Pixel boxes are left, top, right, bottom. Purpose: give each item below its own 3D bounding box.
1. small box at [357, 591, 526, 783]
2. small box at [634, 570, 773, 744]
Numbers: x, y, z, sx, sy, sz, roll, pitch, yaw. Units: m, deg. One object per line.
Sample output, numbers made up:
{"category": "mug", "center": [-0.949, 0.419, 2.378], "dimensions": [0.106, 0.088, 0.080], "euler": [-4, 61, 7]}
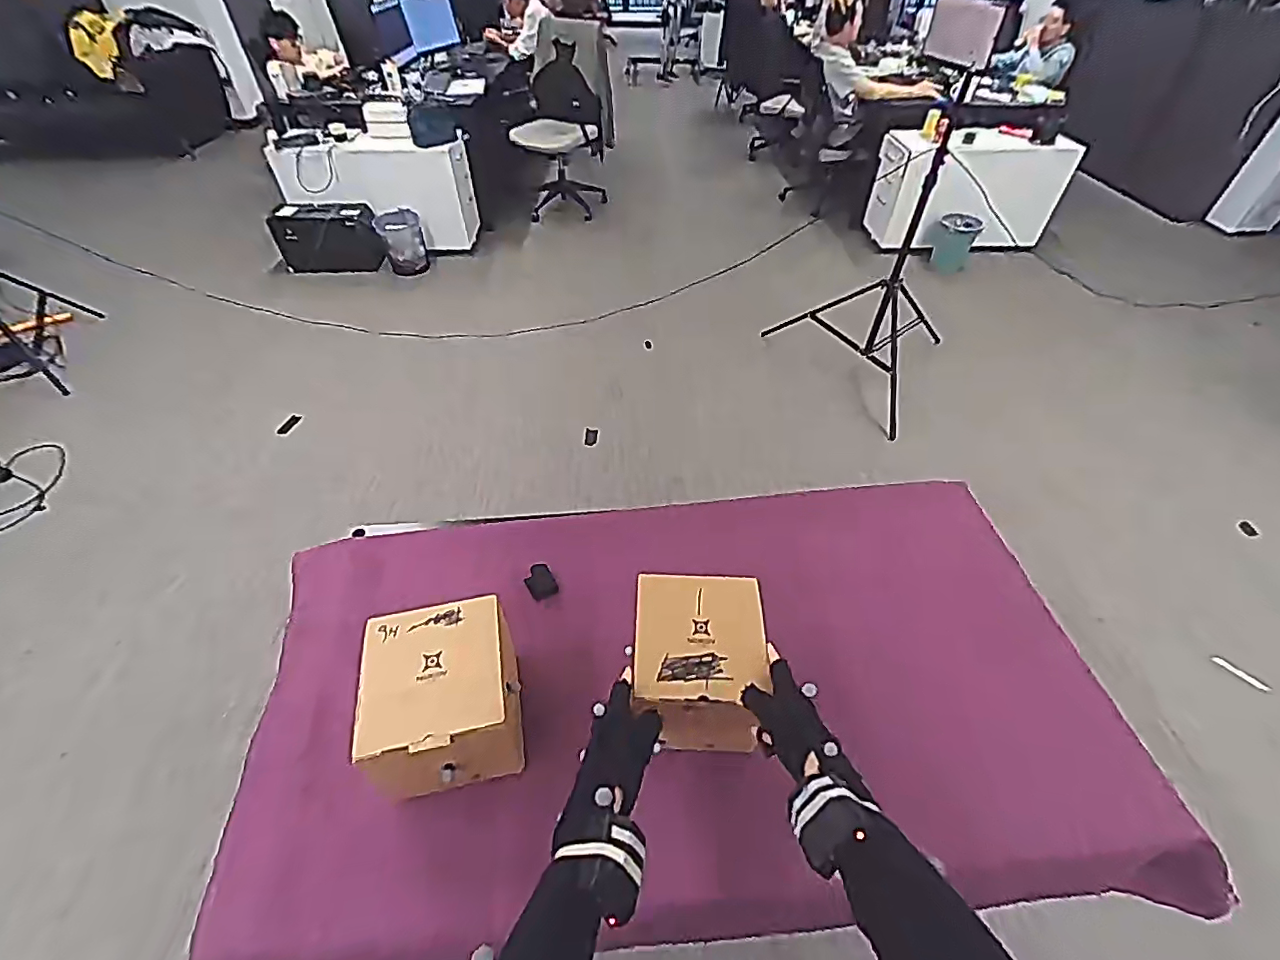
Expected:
{"category": "small box", "center": [-0.247, 0.276, 0.711], "dimensions": [0.168, 0.176, 0.179], "euler": [-9, 48, -10]}
{"category": "small box", "center": [0.079, 0.246, 0.744], "dimensions": [0.168, 0.176, 0.179], "euler": [2, 45, 1]}
